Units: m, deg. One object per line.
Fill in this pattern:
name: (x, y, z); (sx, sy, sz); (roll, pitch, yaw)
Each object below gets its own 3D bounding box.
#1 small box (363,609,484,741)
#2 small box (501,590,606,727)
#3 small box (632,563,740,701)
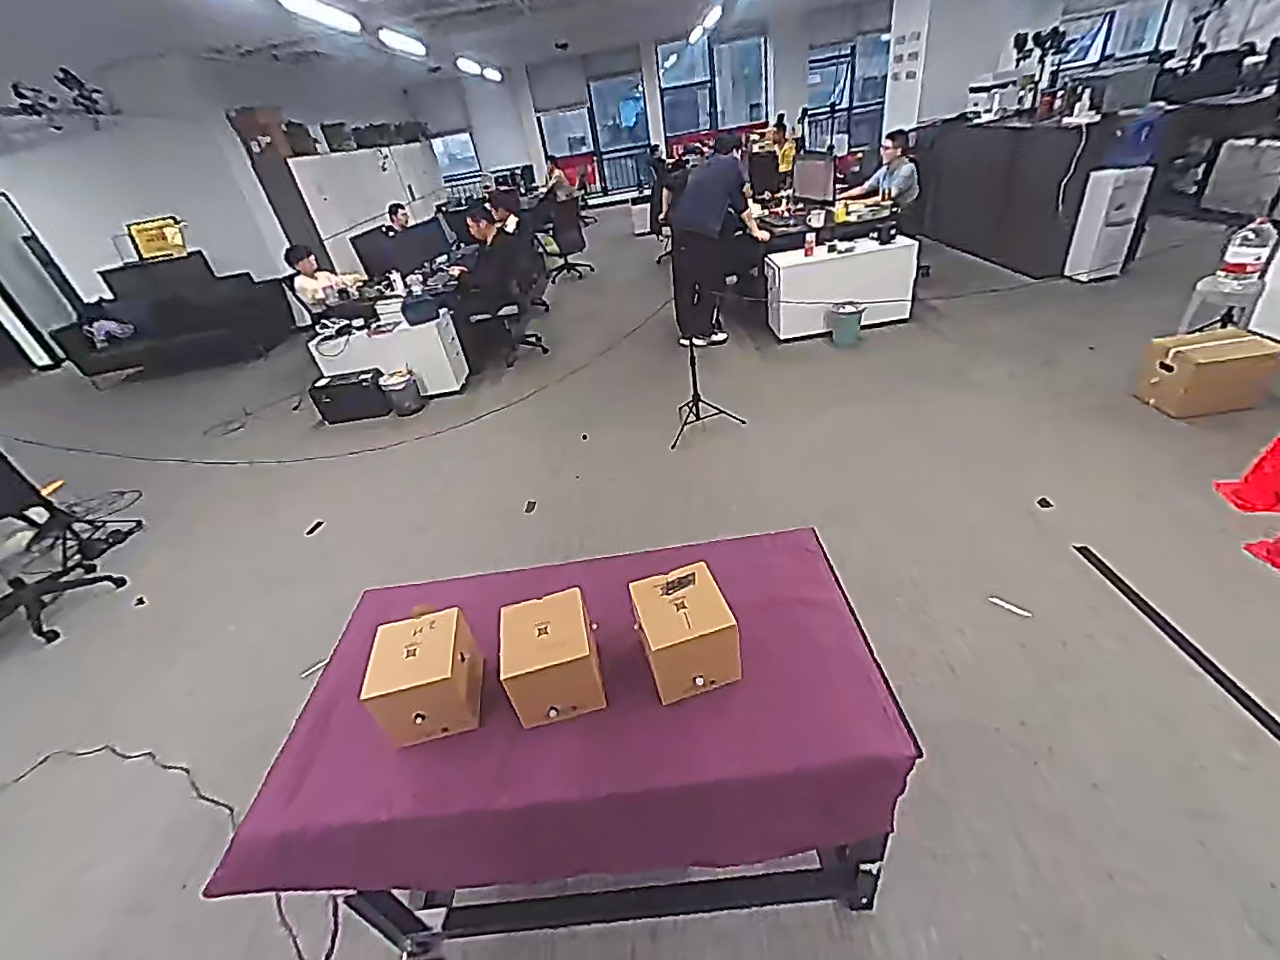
small box: (-0.421, 0.396, 1.086); (0.168, 0.176, 0.179); (-13, 34, -4)
small box: (-0.172, 0.354, 1.080); (0.168, 0.176, 0.179); (-14, 34, -4)
small box: (0.090, 0.302, 1.081); (0.168, 0.176, 0.179); (-16, 35, -7)
